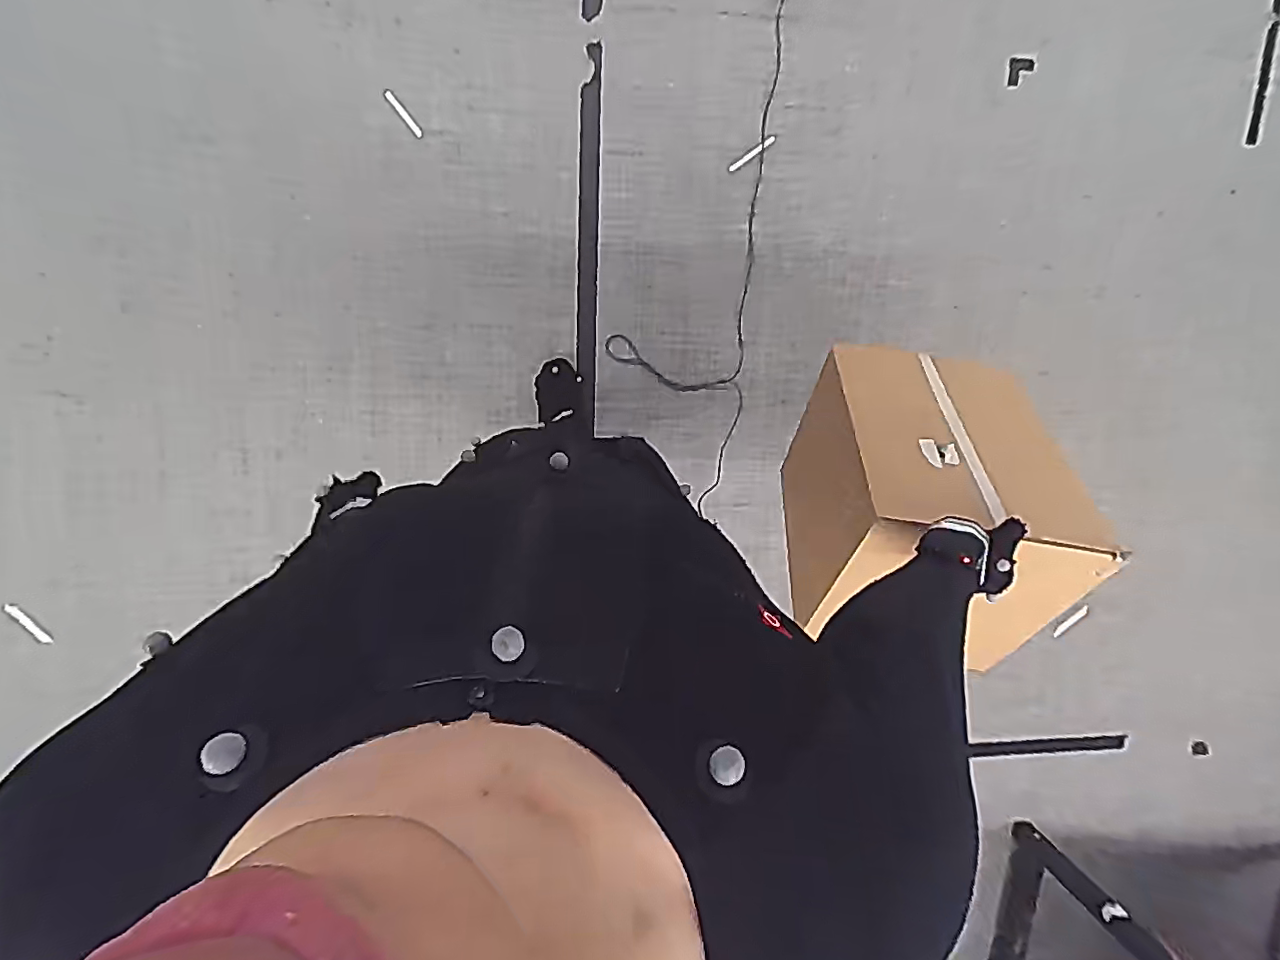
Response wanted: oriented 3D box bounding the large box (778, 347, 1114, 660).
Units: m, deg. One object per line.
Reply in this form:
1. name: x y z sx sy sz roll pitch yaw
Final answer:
1. large box: 0.445 0.034 0.918 0.320 0.408 0.320 8 136 -1
